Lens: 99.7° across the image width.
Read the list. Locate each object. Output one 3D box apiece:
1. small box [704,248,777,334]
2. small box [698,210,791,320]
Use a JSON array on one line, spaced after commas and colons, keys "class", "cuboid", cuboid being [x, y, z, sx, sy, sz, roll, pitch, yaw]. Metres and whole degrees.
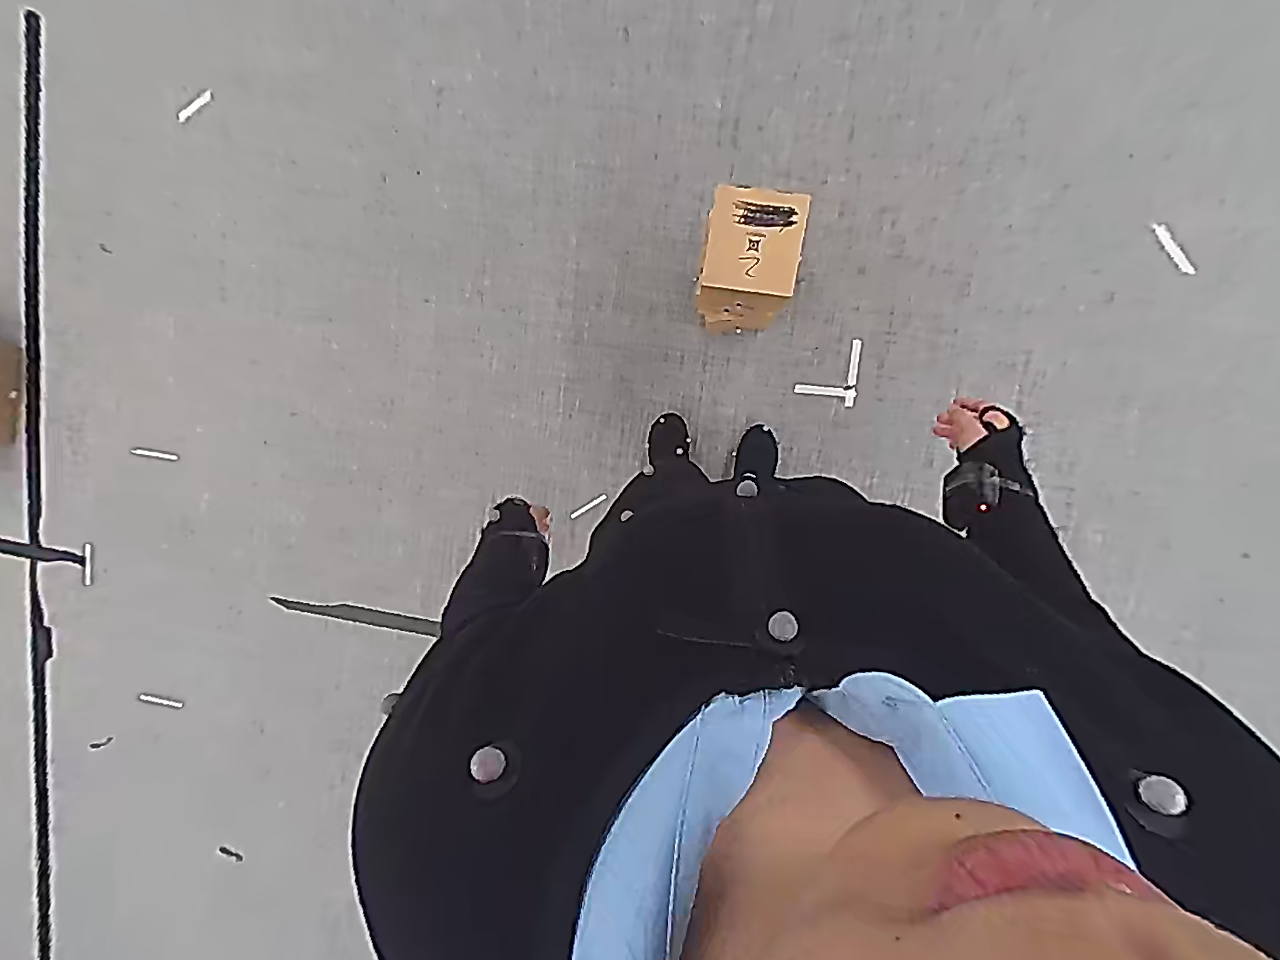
[{"class": "small box", "cuboid": [0.244, -0.473, 1.347, 0.168, 0.176, 0.179, -4, 96, 7]}, {"class": "small box", "cuboid": [0.221, -0.463, 1.186, 0.168, 0.176, 0.179, 9, 97, 5]}]
